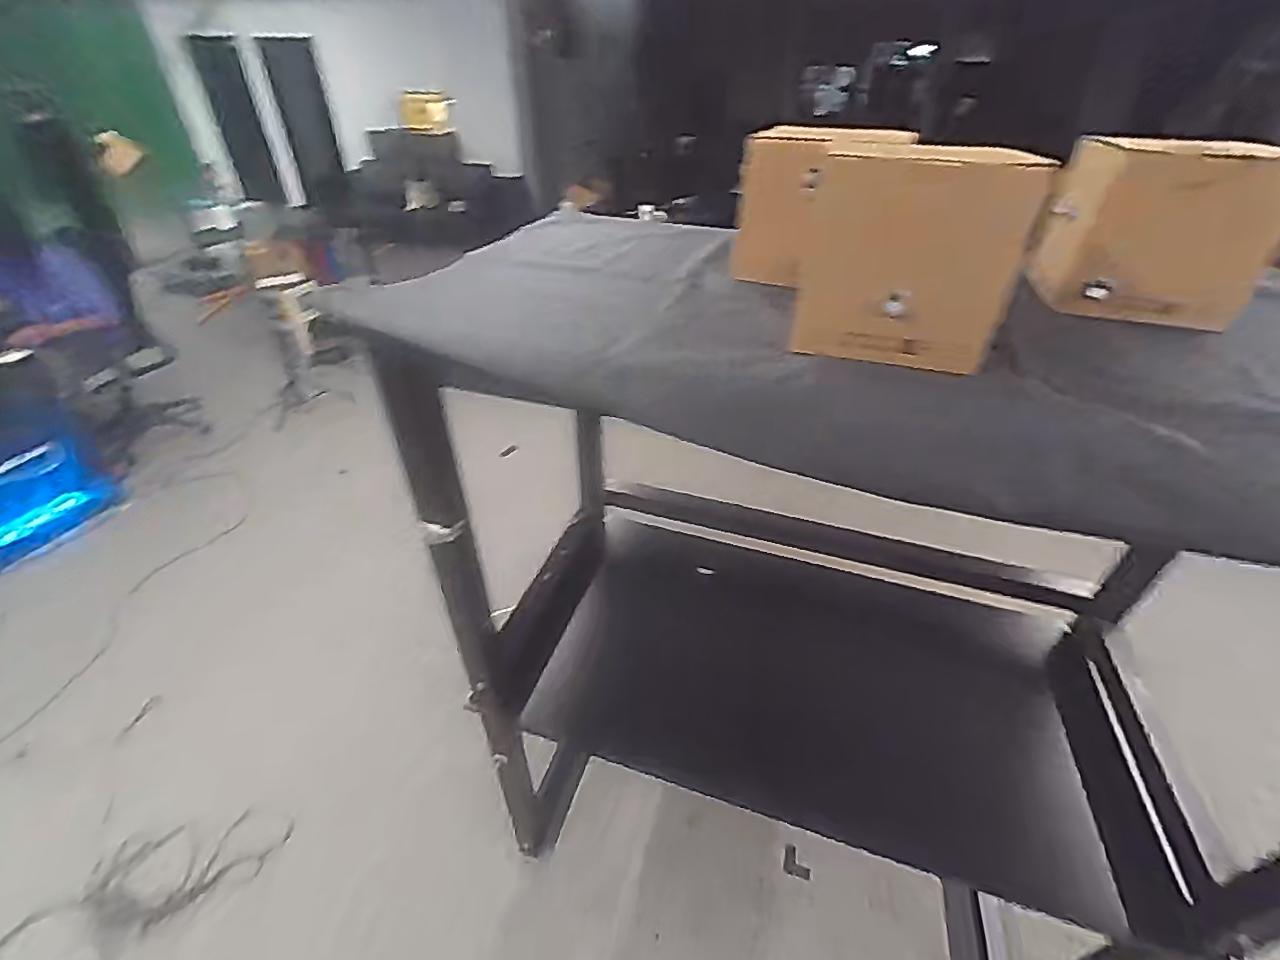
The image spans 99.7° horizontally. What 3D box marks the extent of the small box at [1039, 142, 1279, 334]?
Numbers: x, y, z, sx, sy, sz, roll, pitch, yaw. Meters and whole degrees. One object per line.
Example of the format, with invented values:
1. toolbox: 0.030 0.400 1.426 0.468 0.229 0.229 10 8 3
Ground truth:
1. small box: 0.601 -0.282 0.624 0.168 0.176 0.179 15 38 17

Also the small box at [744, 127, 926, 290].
1. small box: 0.249 -0.349 0.703 0.179 0.176 0.168 16 39 19

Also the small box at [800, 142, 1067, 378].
1. small box: 0.257 -0.219 0.523 0.168 0.176 0.179 12 37 14
